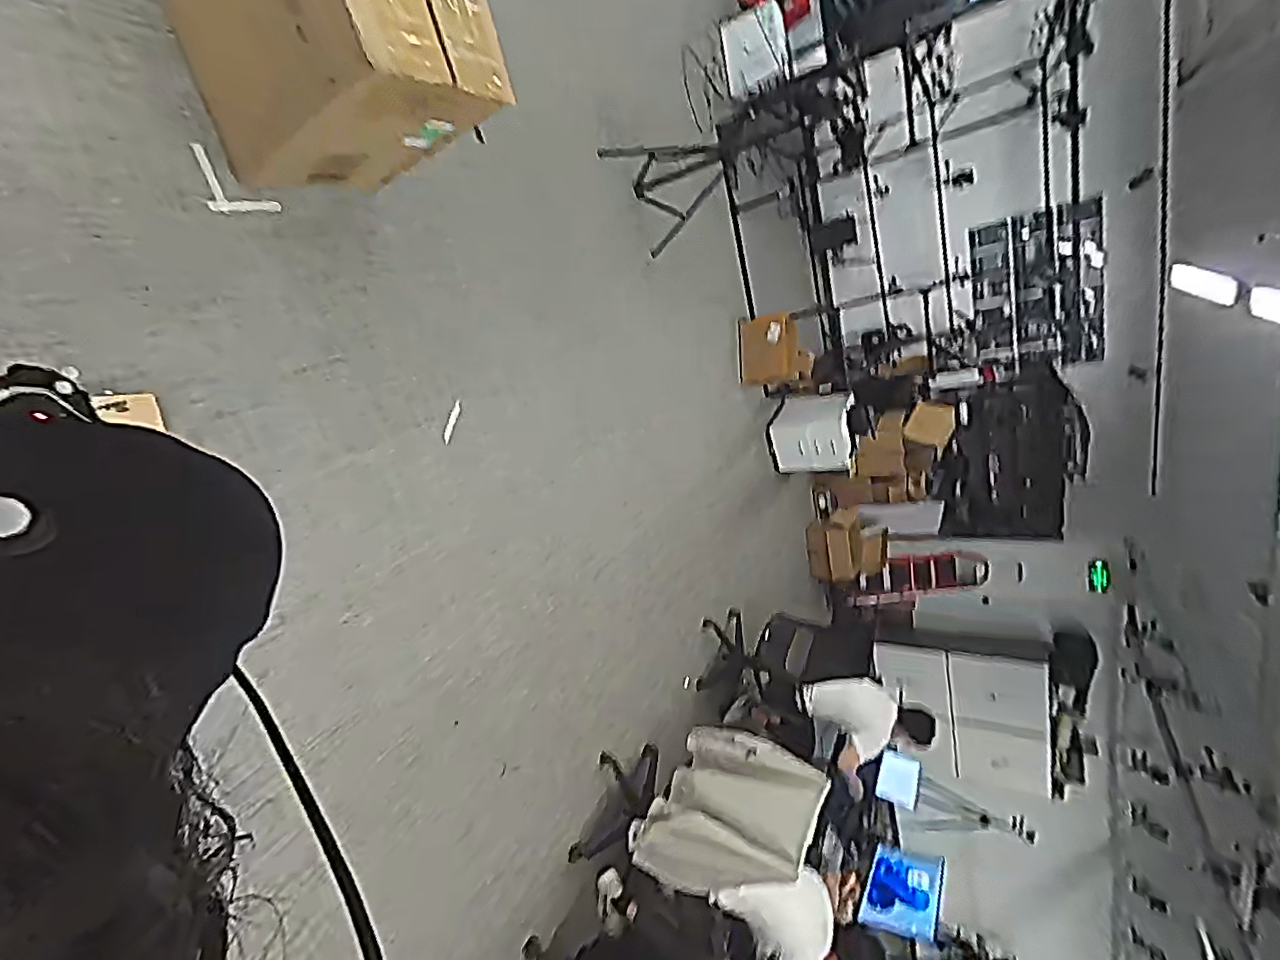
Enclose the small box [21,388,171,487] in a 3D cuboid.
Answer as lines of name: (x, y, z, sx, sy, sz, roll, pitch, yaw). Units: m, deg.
small box: (-1.084, -0.086, 1.081, 0.168, 0.176, 0.179, -20, 104, -55)
